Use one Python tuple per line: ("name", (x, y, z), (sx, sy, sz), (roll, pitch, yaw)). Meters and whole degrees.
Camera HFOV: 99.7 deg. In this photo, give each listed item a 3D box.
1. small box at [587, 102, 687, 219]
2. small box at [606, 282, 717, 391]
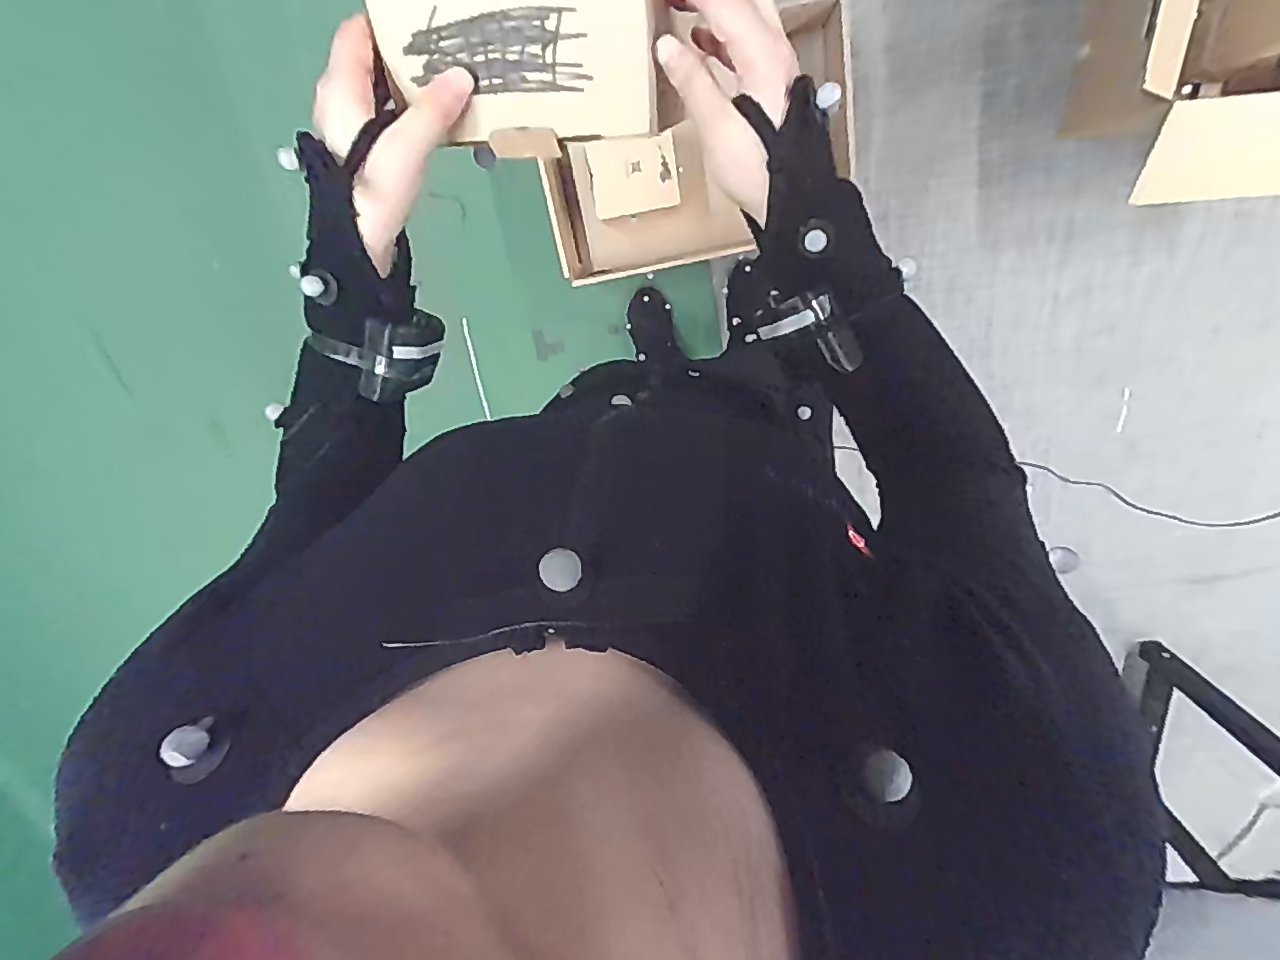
("small box", (0.003, -0.656, 1.132), (0.179, 0.176, 0.168), (-8, 110, 8))
("small box", (0.059, -0.342, 1.288), (0.176, 0.168, 0.179), (33, 90, -39))
